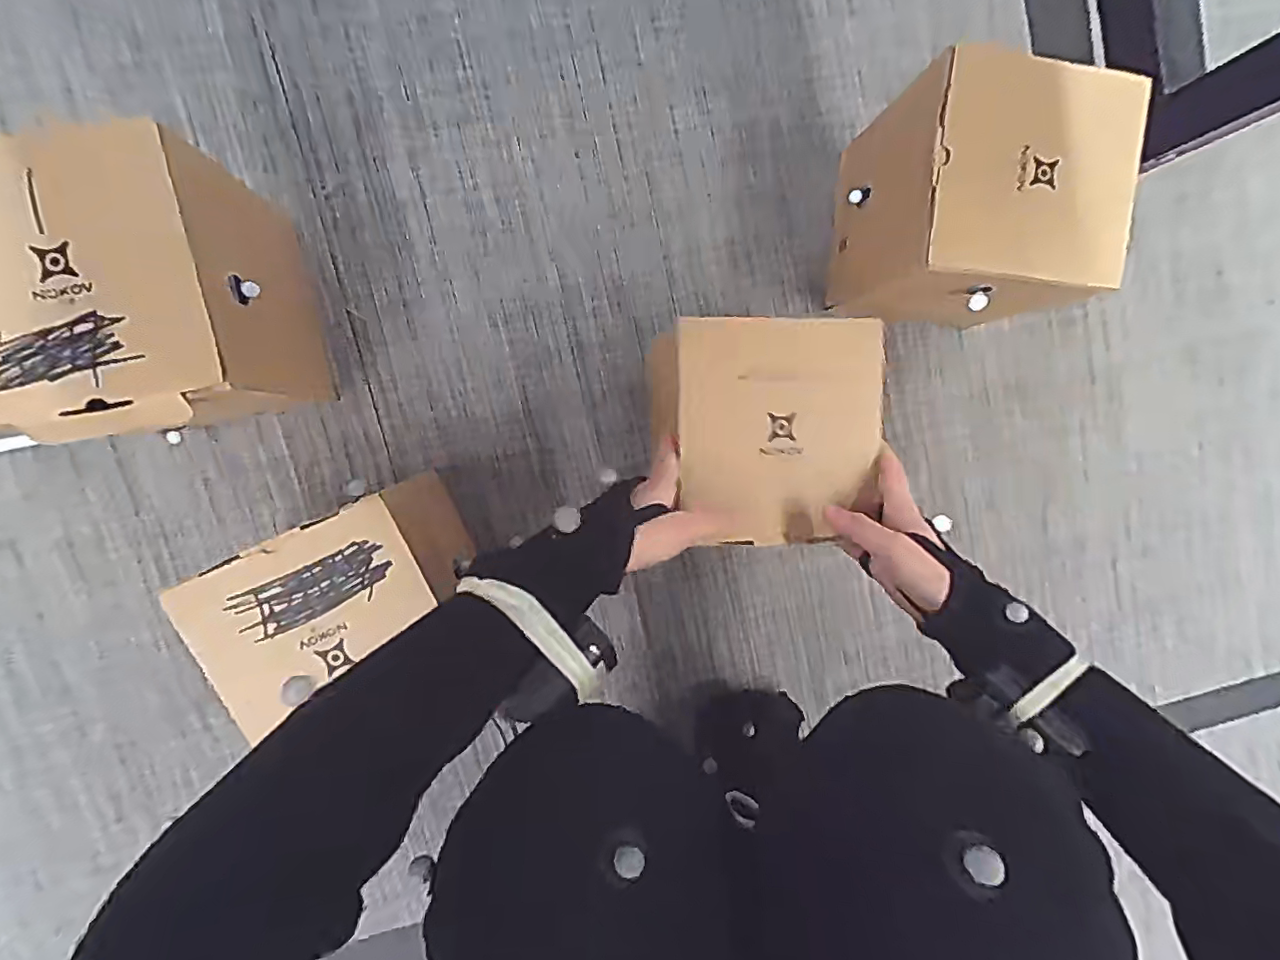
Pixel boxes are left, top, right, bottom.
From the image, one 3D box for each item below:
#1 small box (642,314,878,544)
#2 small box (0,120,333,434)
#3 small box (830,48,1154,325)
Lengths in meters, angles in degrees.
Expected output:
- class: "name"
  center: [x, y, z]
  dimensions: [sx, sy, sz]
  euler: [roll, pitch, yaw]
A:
- class: "small box"
  center: [0.095, -0.046, 0.495]
  dimensions: [0.168, 0.176, 0.179]
  euler: [-3, 94, -8]
- class: "small box"
  center: [-0.373, -0.136, 0.424]
  dimensions: [0.168, 0.176, 0.179]
  euler: [-12, 96, -7]
- class: "small box"
  center: [0.305, -0.247, 0.504]
  dimensions: [0.179, 0.176, 0.168]
  euler: [4, 95, -7]
